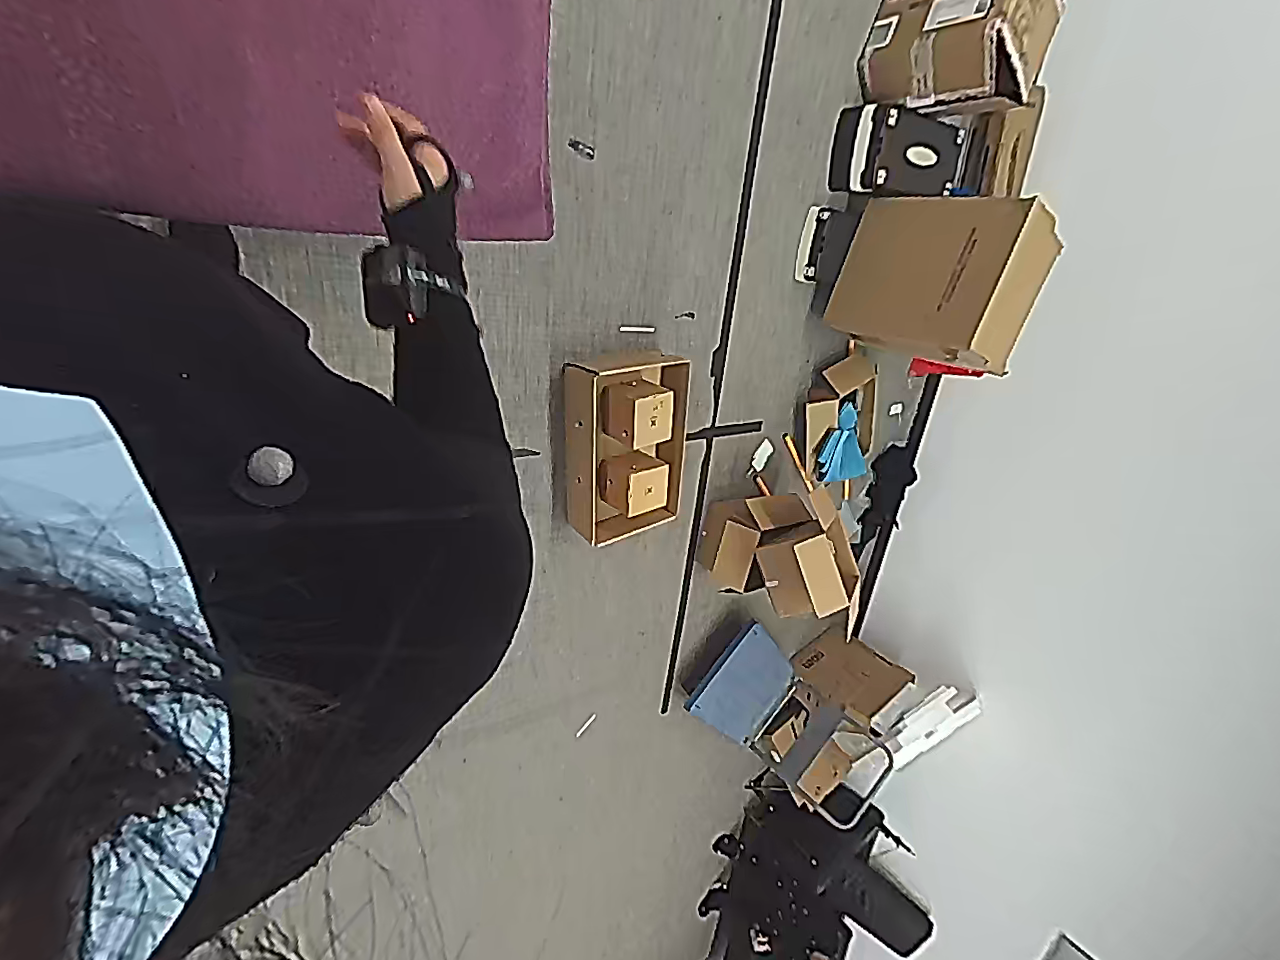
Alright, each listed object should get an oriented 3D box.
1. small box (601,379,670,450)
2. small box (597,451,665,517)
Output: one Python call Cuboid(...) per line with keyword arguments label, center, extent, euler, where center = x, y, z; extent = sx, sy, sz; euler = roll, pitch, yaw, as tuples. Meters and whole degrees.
Cuboid(label="small box", center=(-0.020, -0.226, 1.827), extent=(0.168, 0.176, 0.179), euler=(-19, 124, -35))
Cuboid(label="small box", center=(-0.035, 0.008, 1.940), extent=(0.179, 0.176, 0.168), euler=(-16, 121, -35))
